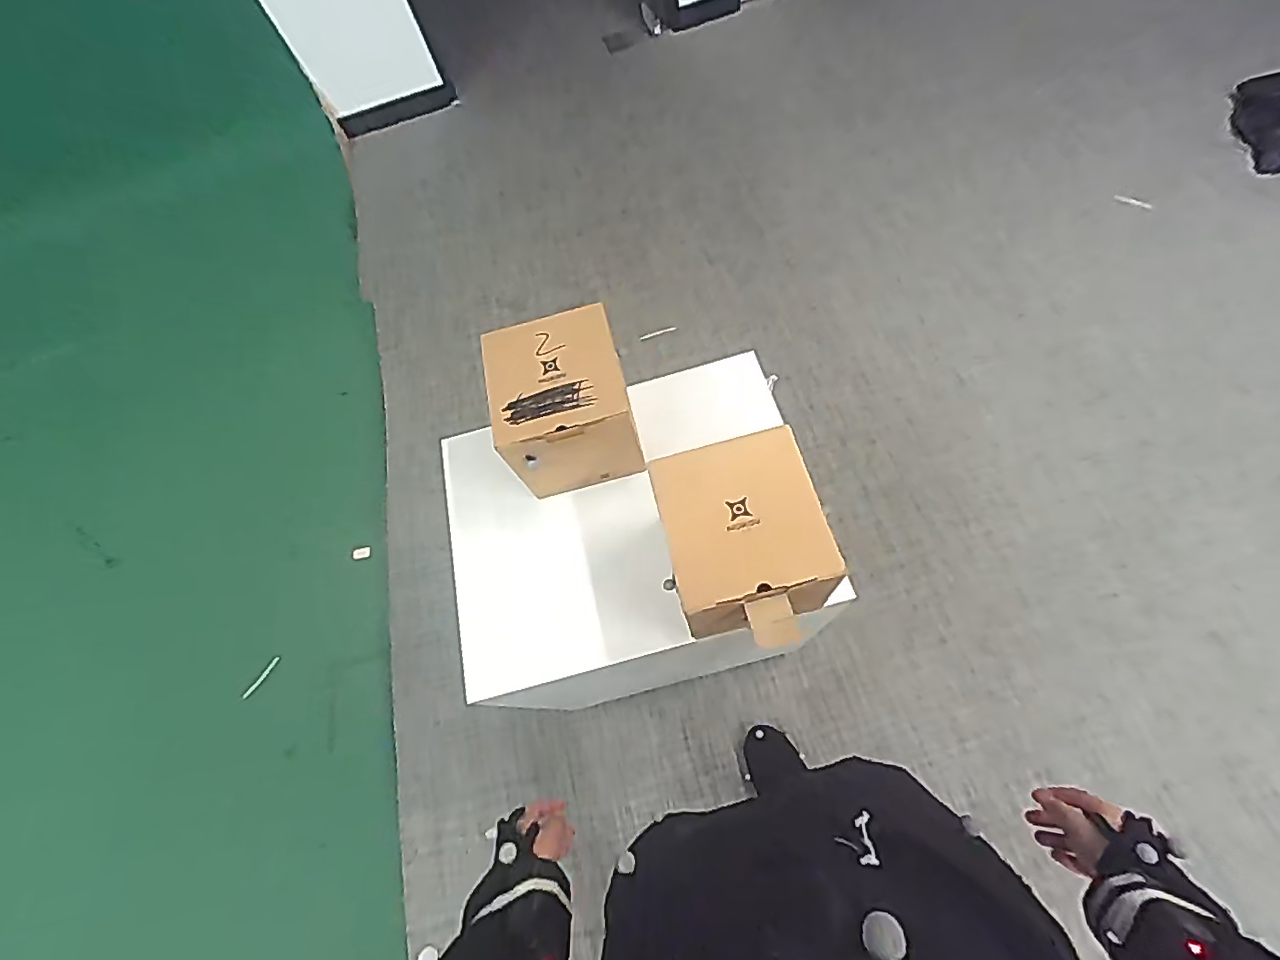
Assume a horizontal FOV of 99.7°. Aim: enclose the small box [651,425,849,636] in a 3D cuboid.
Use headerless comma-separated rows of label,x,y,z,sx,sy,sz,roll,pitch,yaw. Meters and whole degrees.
small box,0.117,0.066,0.631,0.168,0.176,0.179,-15,64,2
